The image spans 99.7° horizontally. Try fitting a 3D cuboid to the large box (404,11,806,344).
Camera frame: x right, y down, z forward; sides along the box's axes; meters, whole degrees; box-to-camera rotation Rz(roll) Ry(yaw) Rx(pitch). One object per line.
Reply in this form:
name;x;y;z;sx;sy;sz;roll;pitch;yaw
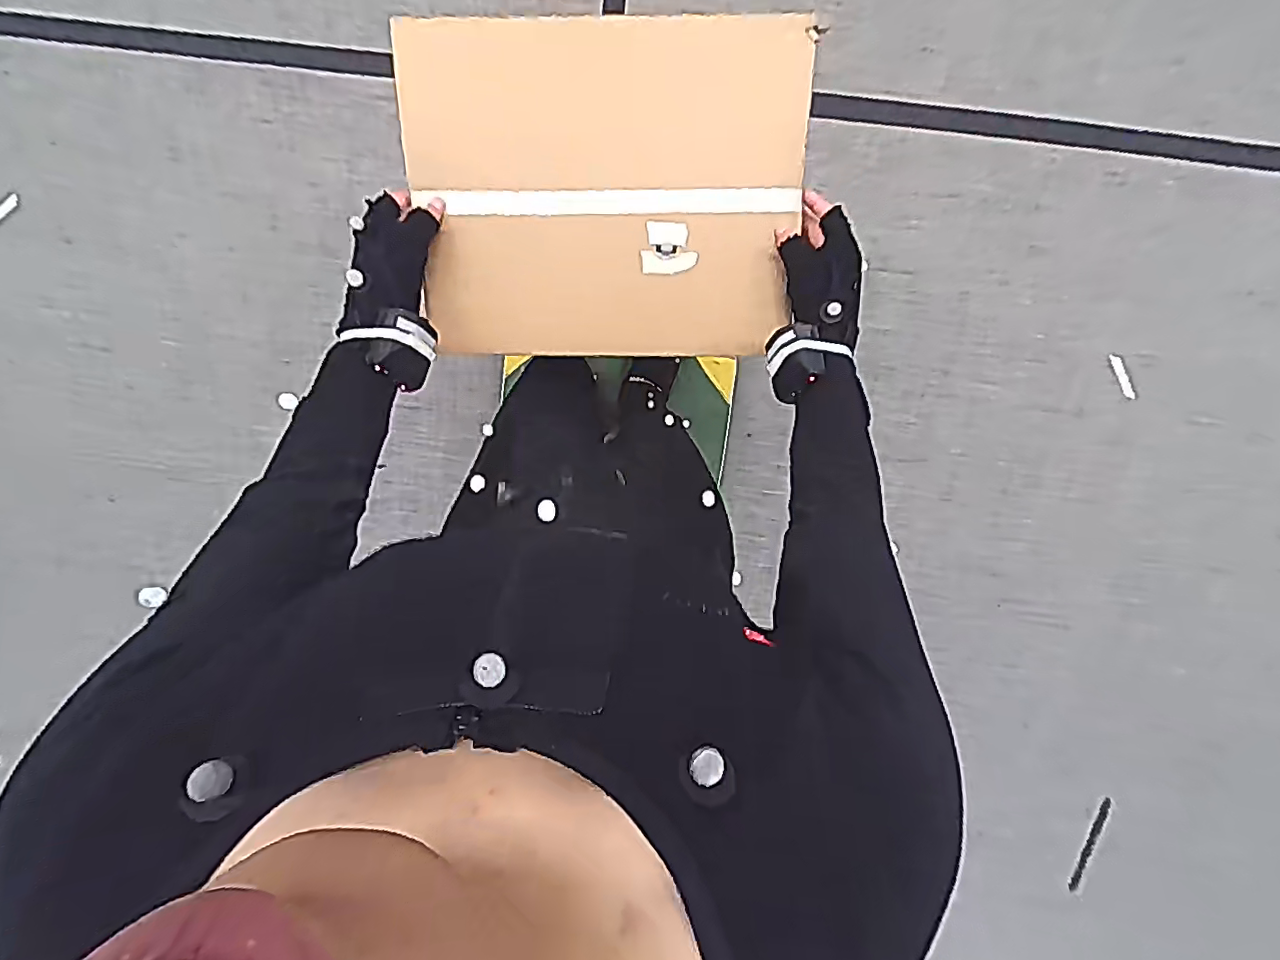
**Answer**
large box;-0.033;-0.356;0.717;0.408;0.320;0.320;0;110;1
